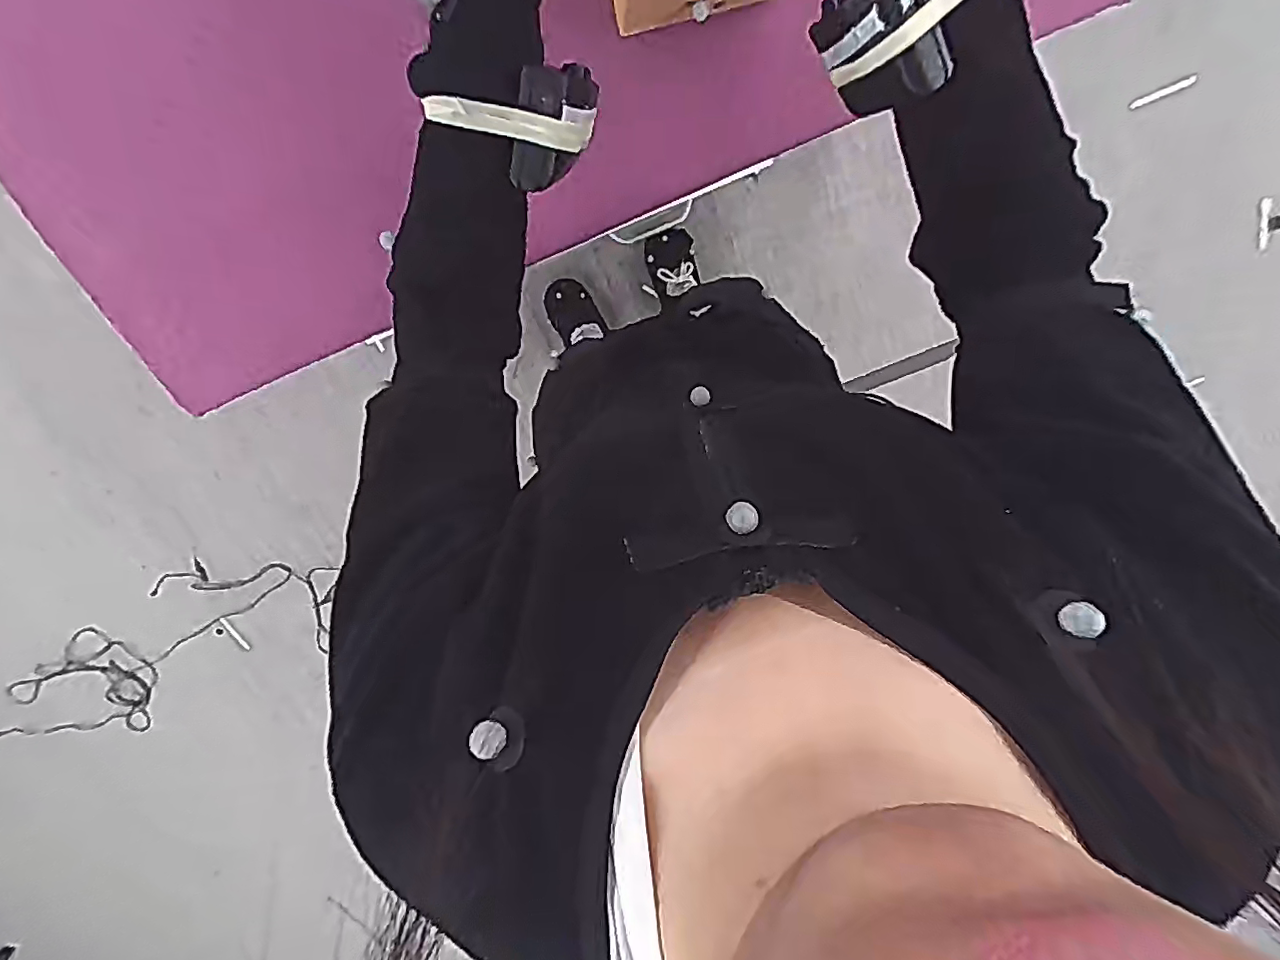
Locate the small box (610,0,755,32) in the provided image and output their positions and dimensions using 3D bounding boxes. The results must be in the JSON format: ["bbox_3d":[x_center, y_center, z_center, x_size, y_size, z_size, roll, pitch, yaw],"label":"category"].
[{"bbox_3d":[0.042,-0.537,0.465,0.168,0.176,0.179,-13,113,1],"label":"small box"}]
